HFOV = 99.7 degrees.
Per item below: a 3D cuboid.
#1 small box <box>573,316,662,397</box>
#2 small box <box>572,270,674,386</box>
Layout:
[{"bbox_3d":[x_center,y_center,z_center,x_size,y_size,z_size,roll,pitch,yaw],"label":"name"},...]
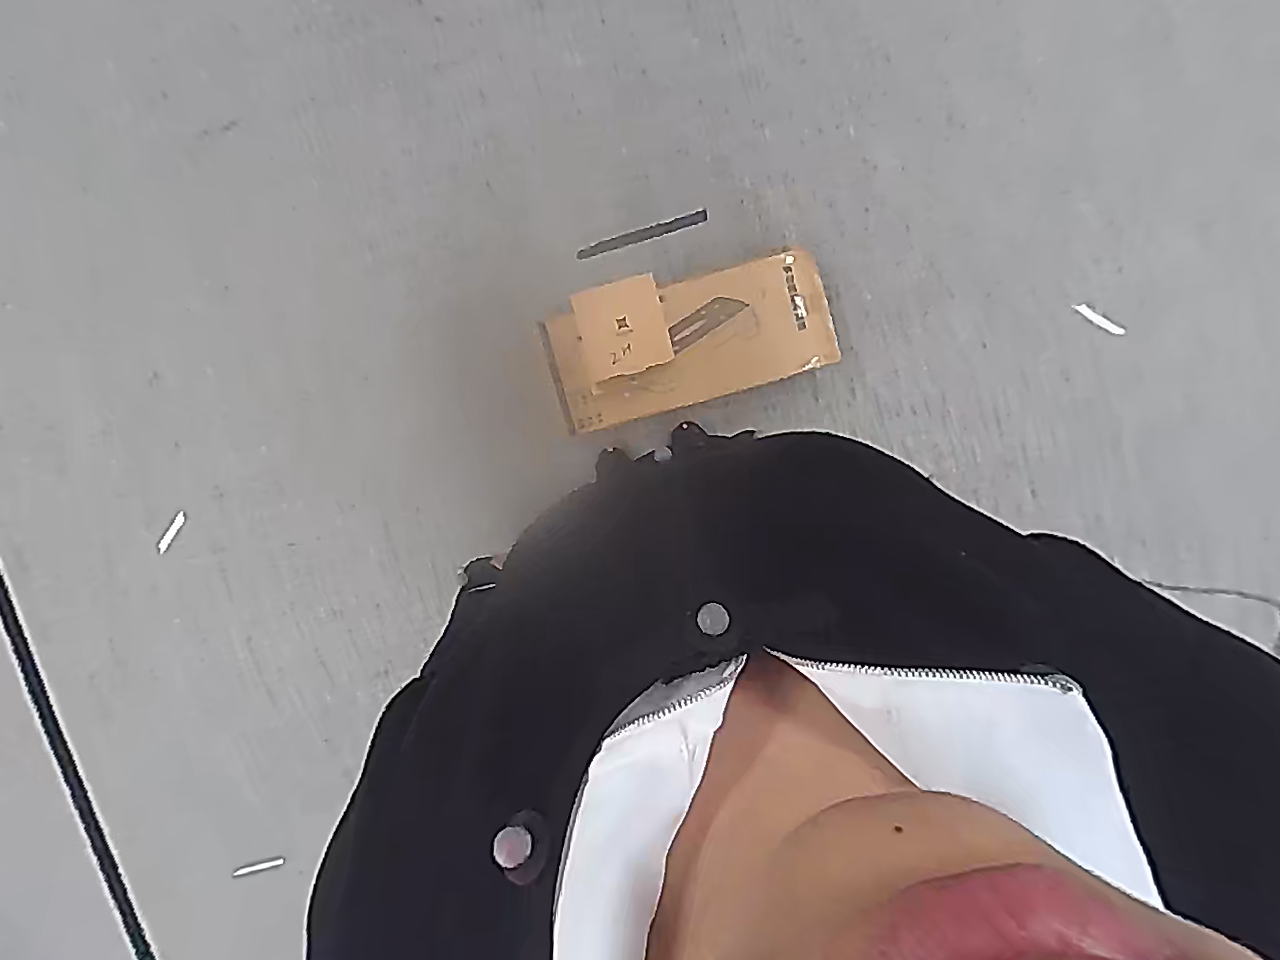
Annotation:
[{"bbox_3d":[-0.052,-0.307,1.284,0.168,0.176,0.179,-17,96,1],"label":"small box"},{"bbox_3d":[-0.034,-0.305,1.119,0.168,0.176,0.179,-15,95,1],"label":"small box"}]
